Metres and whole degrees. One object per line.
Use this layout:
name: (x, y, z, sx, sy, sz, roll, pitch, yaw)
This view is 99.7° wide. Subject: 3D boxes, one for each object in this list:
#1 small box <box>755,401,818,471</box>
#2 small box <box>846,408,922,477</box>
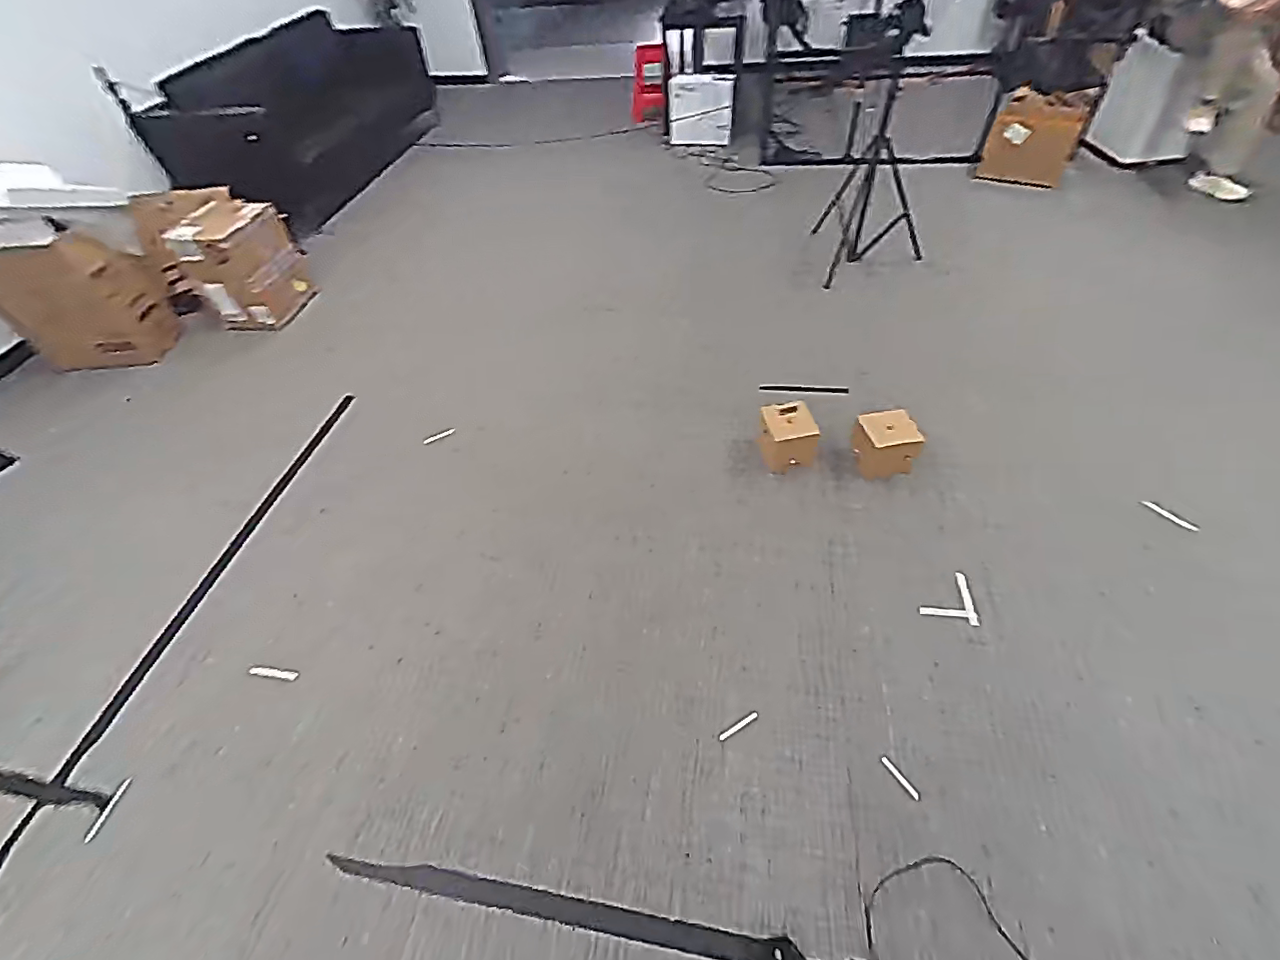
small box: (0.529, -0.161, 1.987, 0.168, 0.176, 0.179, -11, 50, -4)
small box: (0.864, -0.131, 1.932, 0.179, 0.176, 0.168, -10, 48, -3)
